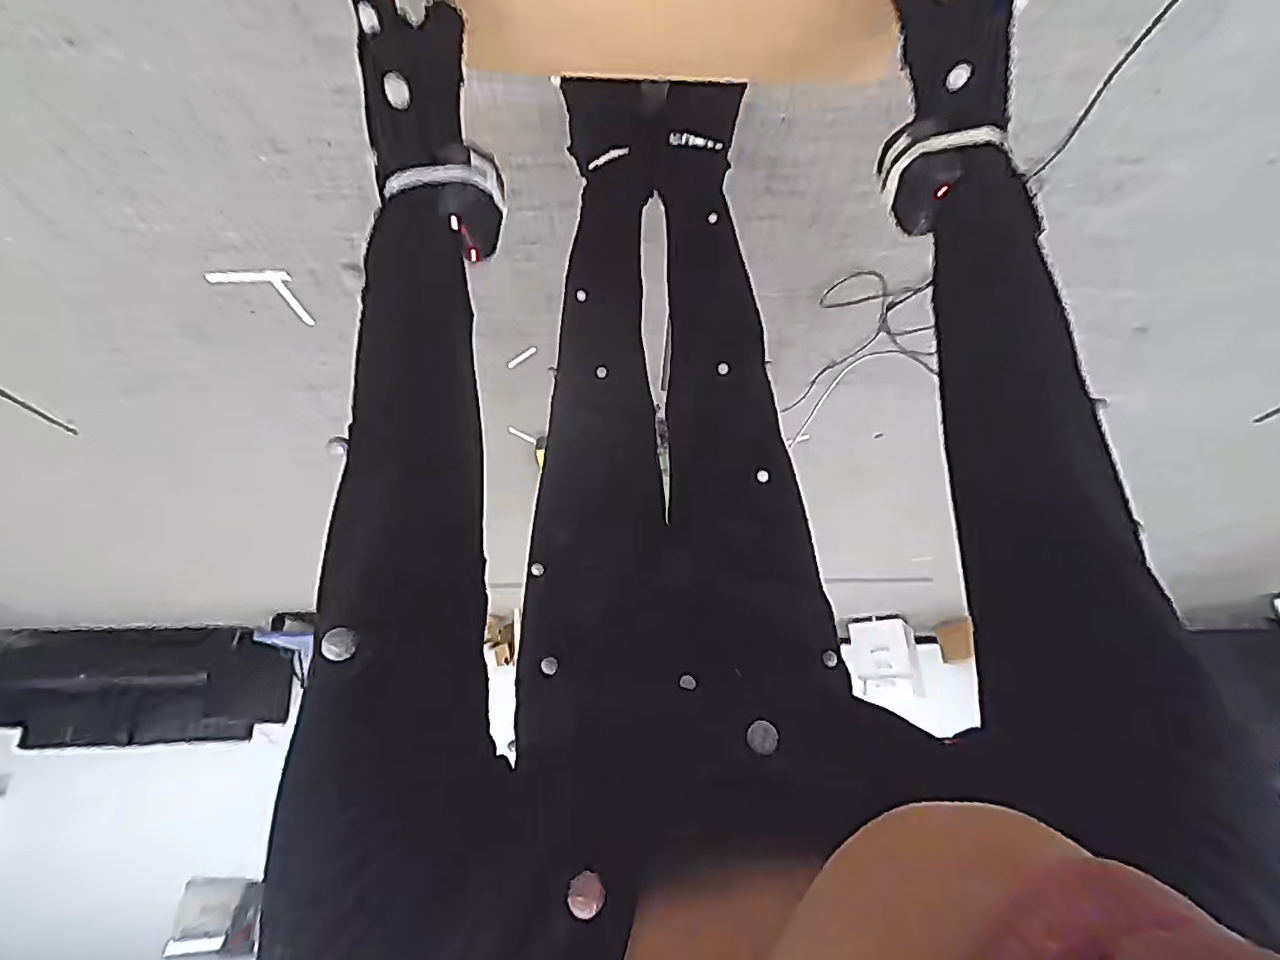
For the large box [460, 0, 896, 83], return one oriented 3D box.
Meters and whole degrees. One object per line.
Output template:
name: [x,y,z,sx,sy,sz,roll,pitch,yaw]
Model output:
large box: [0.032,-0.603,0.478,0.408,0.320,0.320,-1,153,-2]
